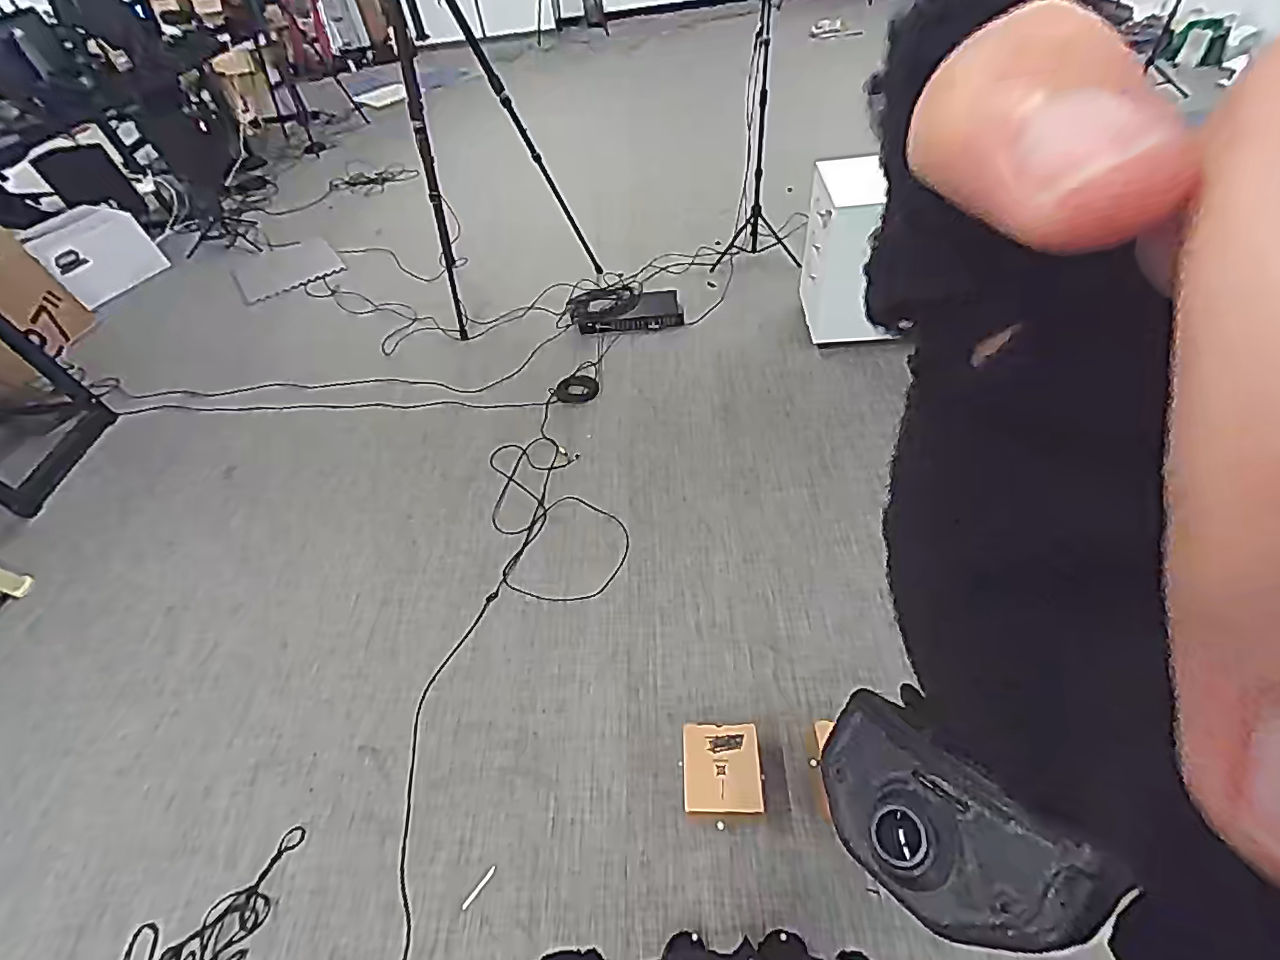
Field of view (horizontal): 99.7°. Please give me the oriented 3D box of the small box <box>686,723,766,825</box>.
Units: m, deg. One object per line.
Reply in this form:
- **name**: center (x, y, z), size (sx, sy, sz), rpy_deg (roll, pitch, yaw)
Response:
- **small box**: center (0.188, 0.668, 1.228), size (0.168, 0.176, 0.179), rpy_deg (-3, 51, 6)

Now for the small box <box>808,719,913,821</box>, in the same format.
- **small box**: center (0.481, 0.651, 1.206), size (0.168, 0.176, 0.179), rpy_deg (-4, 49, 5)
